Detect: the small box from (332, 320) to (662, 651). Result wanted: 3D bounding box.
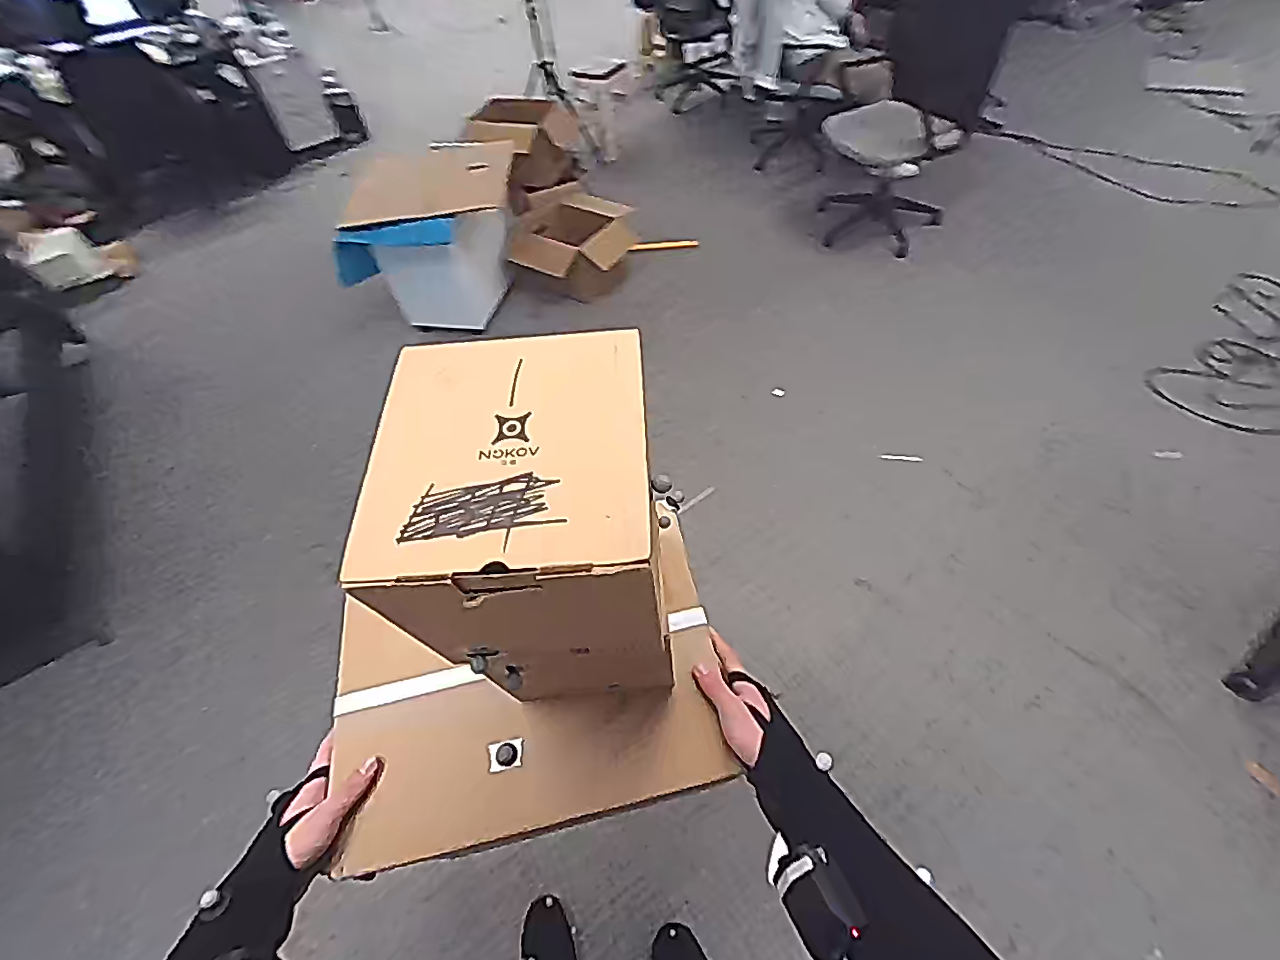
[{"bbox_3d":[-0.072,0.016,0.382,0.168,0.176,0.179,-3,57,3],"label":"small box"}]
